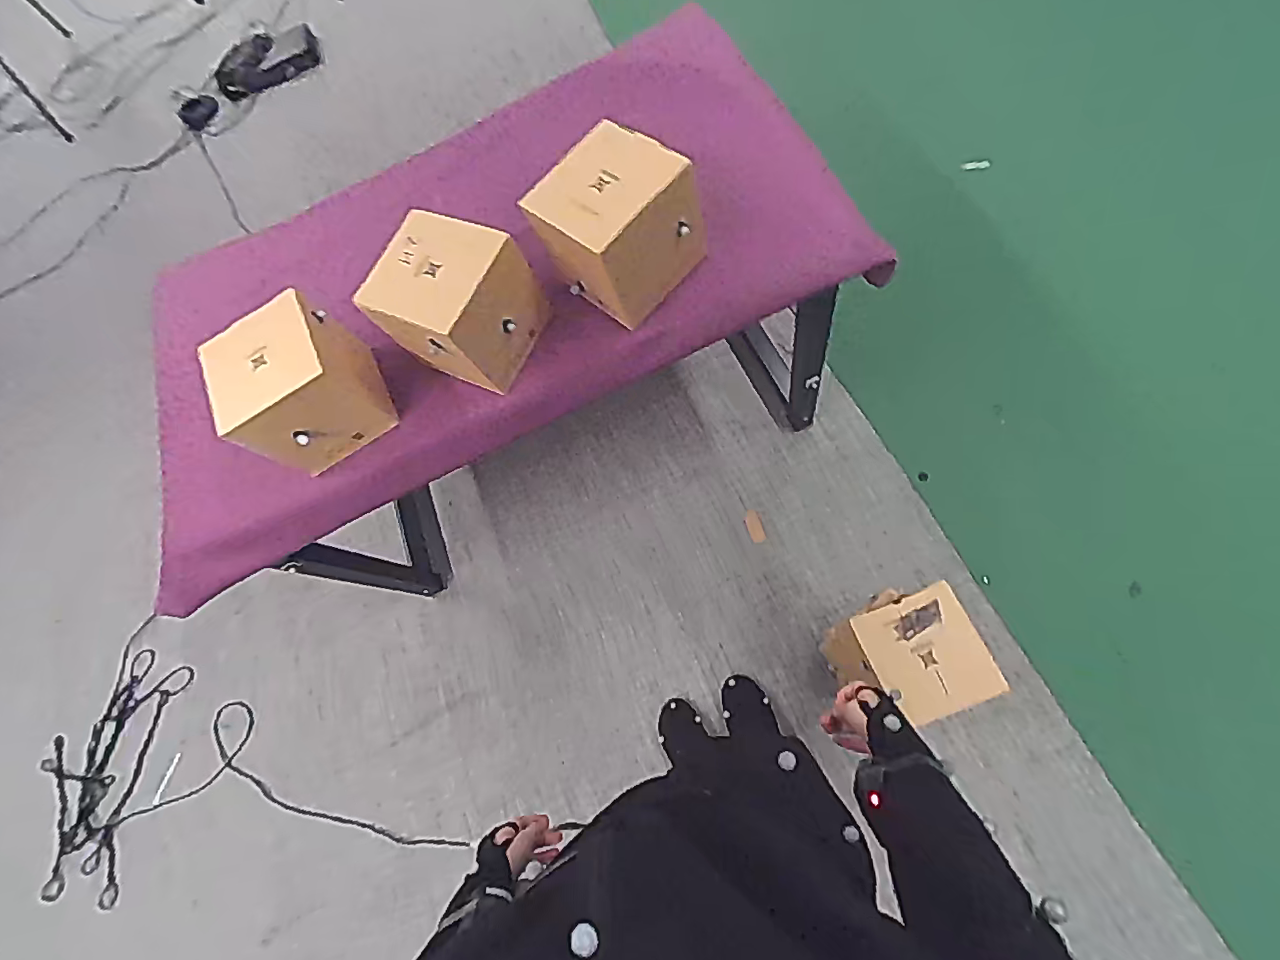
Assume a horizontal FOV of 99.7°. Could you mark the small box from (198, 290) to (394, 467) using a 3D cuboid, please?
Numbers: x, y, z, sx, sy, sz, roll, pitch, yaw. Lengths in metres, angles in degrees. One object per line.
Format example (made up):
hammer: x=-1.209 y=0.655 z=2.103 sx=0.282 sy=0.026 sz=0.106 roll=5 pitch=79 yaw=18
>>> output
small box: x=-0.506 y=-0.139 z=0.814 sx=0.168 sy=0.176 sz=0.179 roll=-32 pitch=67 yaw=1

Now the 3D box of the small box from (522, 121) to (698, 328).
small box: x=-0.031 y=-0.360 z=0.782 sx=0.168 sy=0.176 sz=0.179 roll=41 pitch=85 yaw=23

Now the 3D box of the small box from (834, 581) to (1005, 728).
small box: x=0.442 y=0.286 z=0.893 sx=0.168 sy=0.176 sz=0.179 roll=-23 pitch=70 yaw=3

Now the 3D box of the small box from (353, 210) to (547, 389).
small box: x=-0.265 y=-0.256 z=0.798 sx=0.179 sy=0.176 sz=0.168 roll=23 pitch=77 yaw=19

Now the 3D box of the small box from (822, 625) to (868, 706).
small box: x=0.512 y=0.393 z=1.196 sx=0.179 sy=0.176 sz=0.168 roll=-16 pitch=70 yaw=7
